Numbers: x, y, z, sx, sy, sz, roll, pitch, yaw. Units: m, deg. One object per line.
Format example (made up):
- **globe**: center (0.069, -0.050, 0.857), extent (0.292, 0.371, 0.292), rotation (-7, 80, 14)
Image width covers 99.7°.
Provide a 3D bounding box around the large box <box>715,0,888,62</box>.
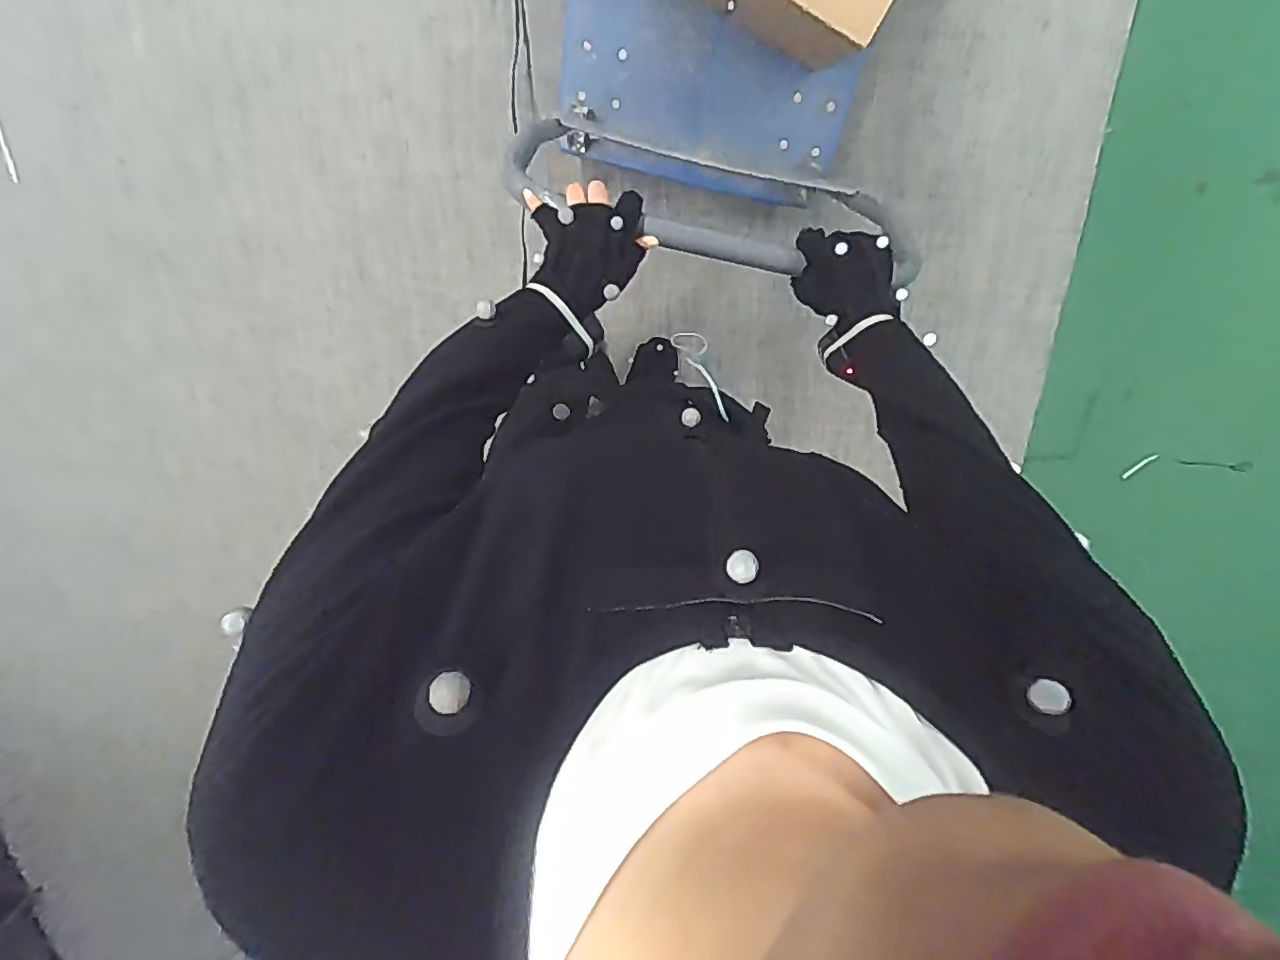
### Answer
- **large box**: center (0.221, -0.904, 0.803), extent (0.408, 0.320, 0.320), rotation (24, 121, -11)
